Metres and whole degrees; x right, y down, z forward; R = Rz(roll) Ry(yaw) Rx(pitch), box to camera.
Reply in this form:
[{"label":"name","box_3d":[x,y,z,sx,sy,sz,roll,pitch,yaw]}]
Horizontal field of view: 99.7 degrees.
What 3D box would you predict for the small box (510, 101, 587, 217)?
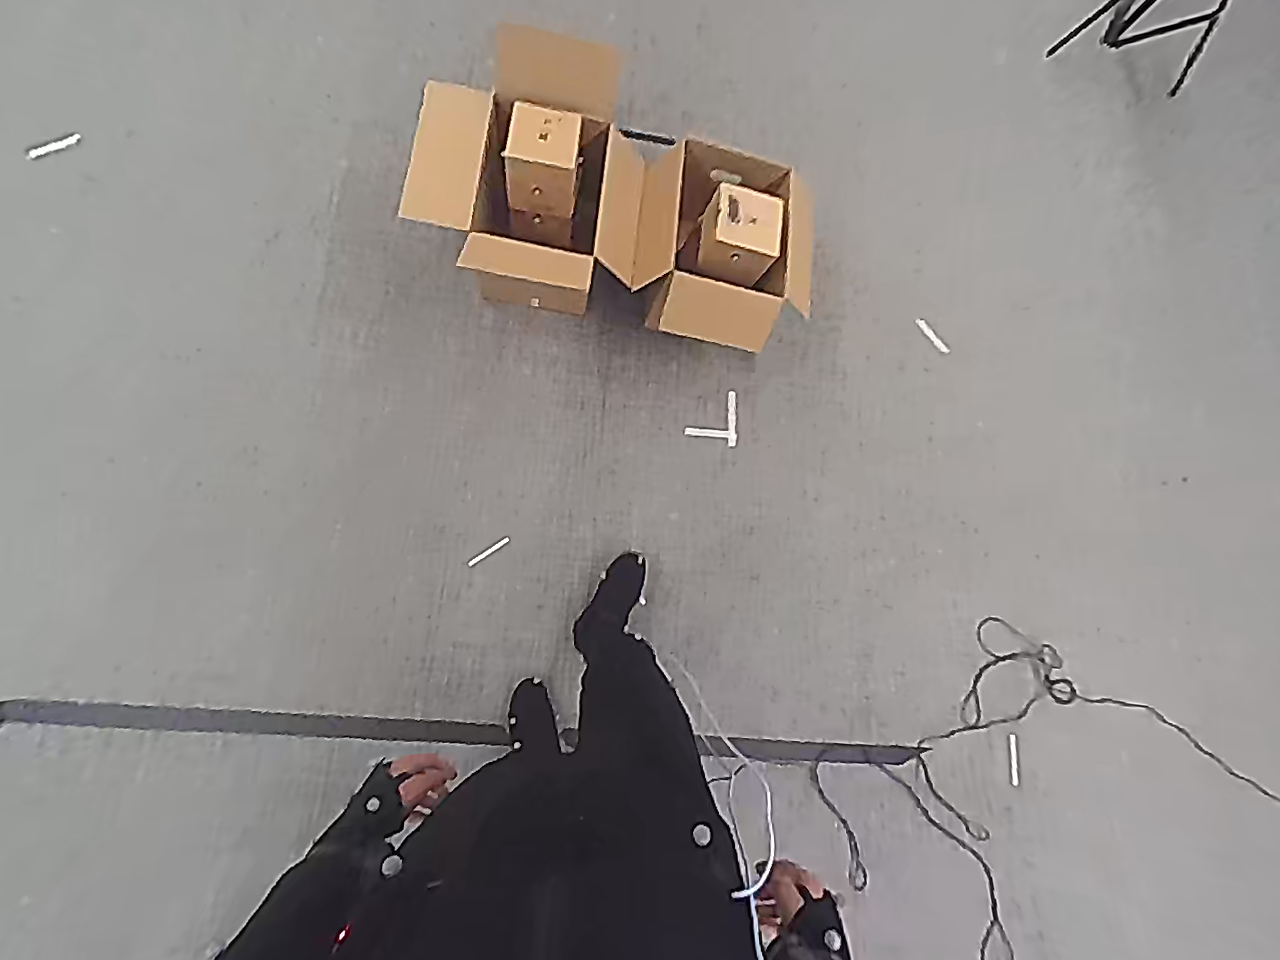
[{"label":"small box","box_3d":[-0.231,-0.808,1.377,0.168,0.176,0.179,8,72,-8]}]
